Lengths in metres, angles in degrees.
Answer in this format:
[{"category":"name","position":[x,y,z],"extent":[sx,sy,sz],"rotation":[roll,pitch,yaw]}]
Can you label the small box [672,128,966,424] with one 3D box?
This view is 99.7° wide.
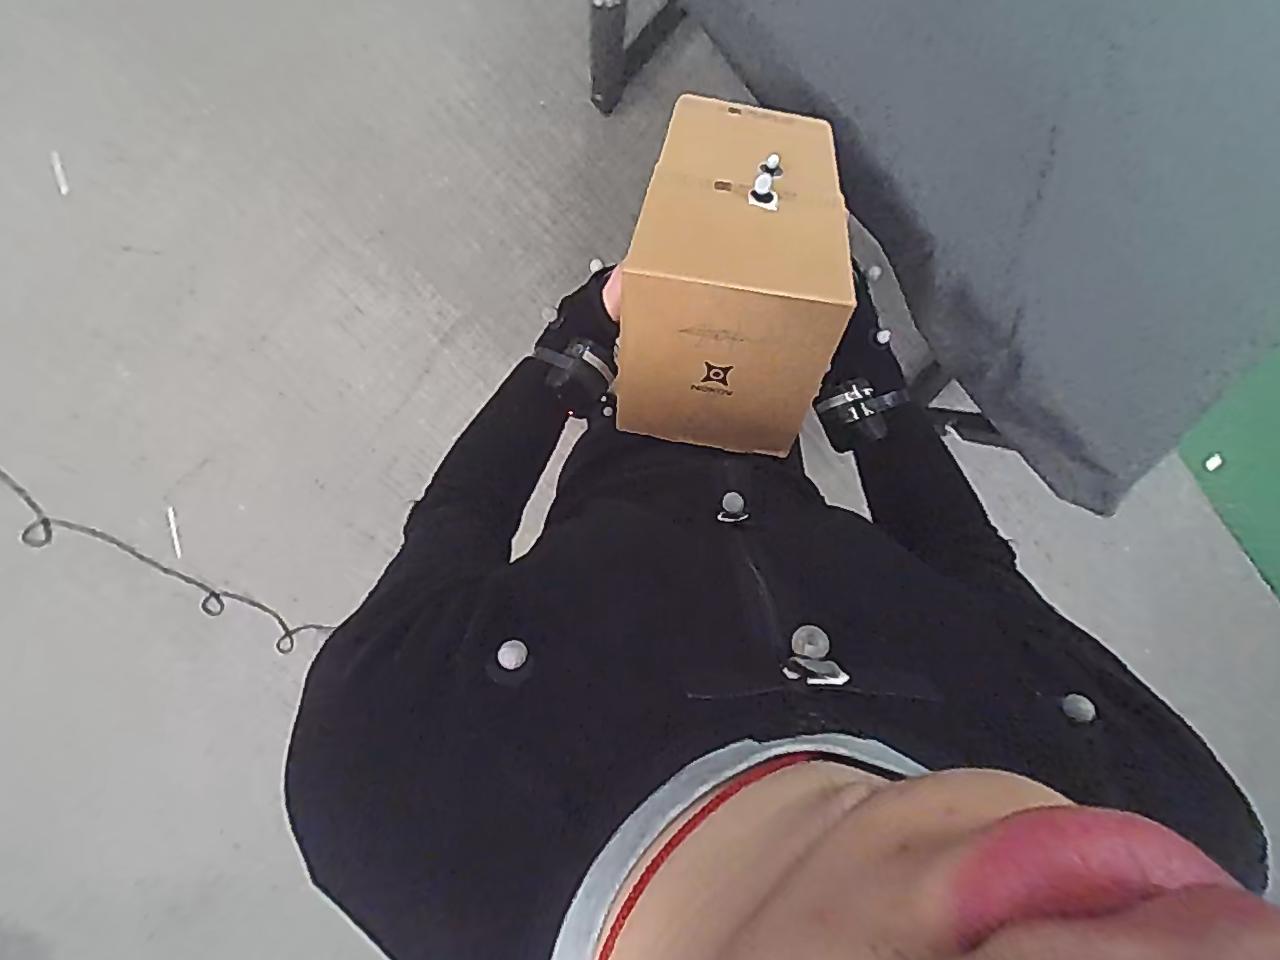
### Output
[{"category":"small box","position":[0.159,-0.189,0.514],"extent":[0.179,0.168,0.176],"rotation":[20,126,-27]}]
